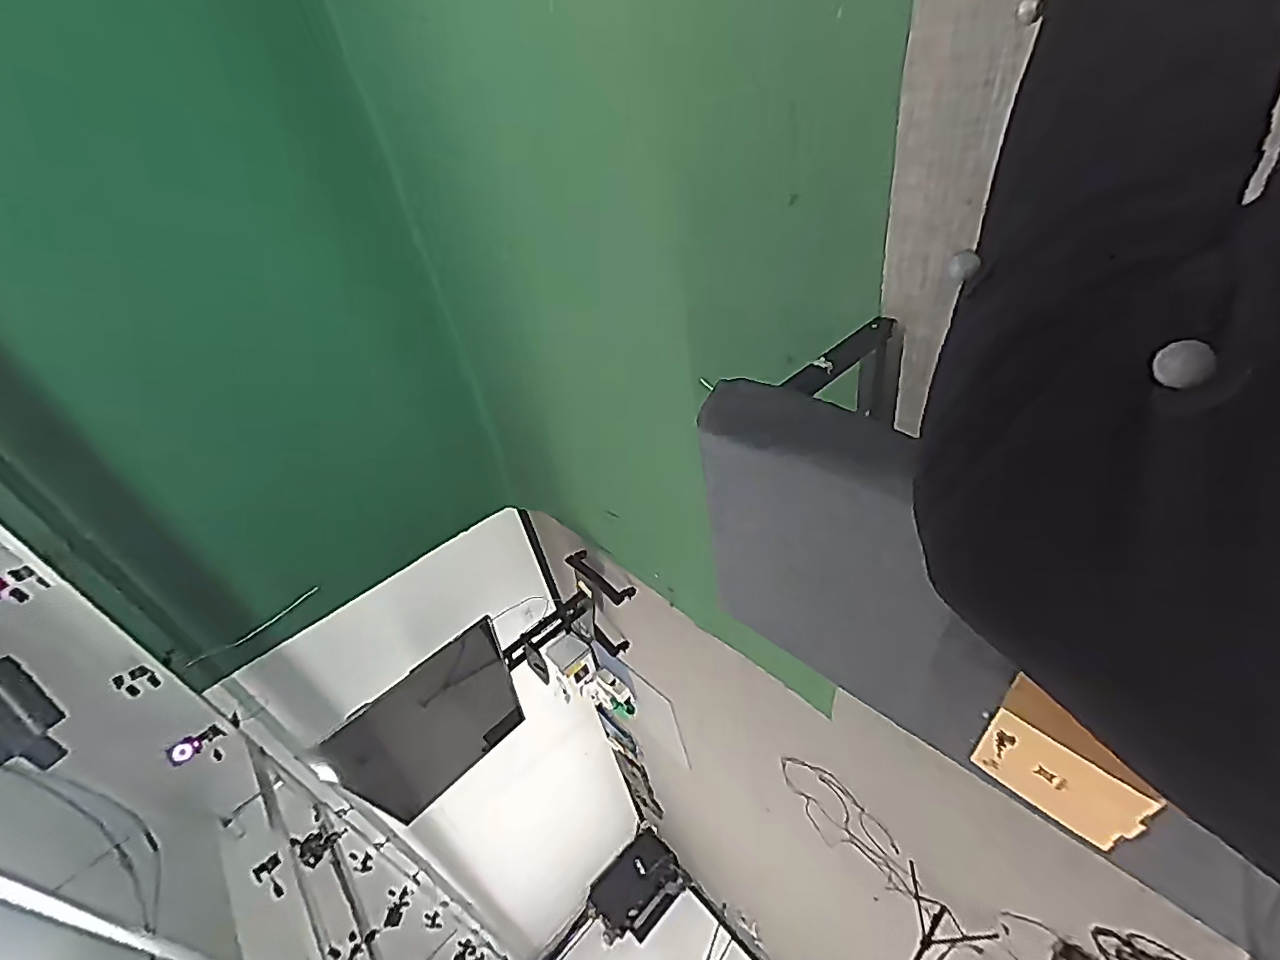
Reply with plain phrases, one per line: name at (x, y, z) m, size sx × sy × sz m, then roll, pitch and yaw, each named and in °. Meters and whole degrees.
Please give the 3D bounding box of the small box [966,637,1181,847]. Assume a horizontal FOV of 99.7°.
small box at (0.609, 0.362, 0.769) m, size 0.179 × 0.176 × 0.168 m, roll 31°, pitch 143°, yaw 38°
